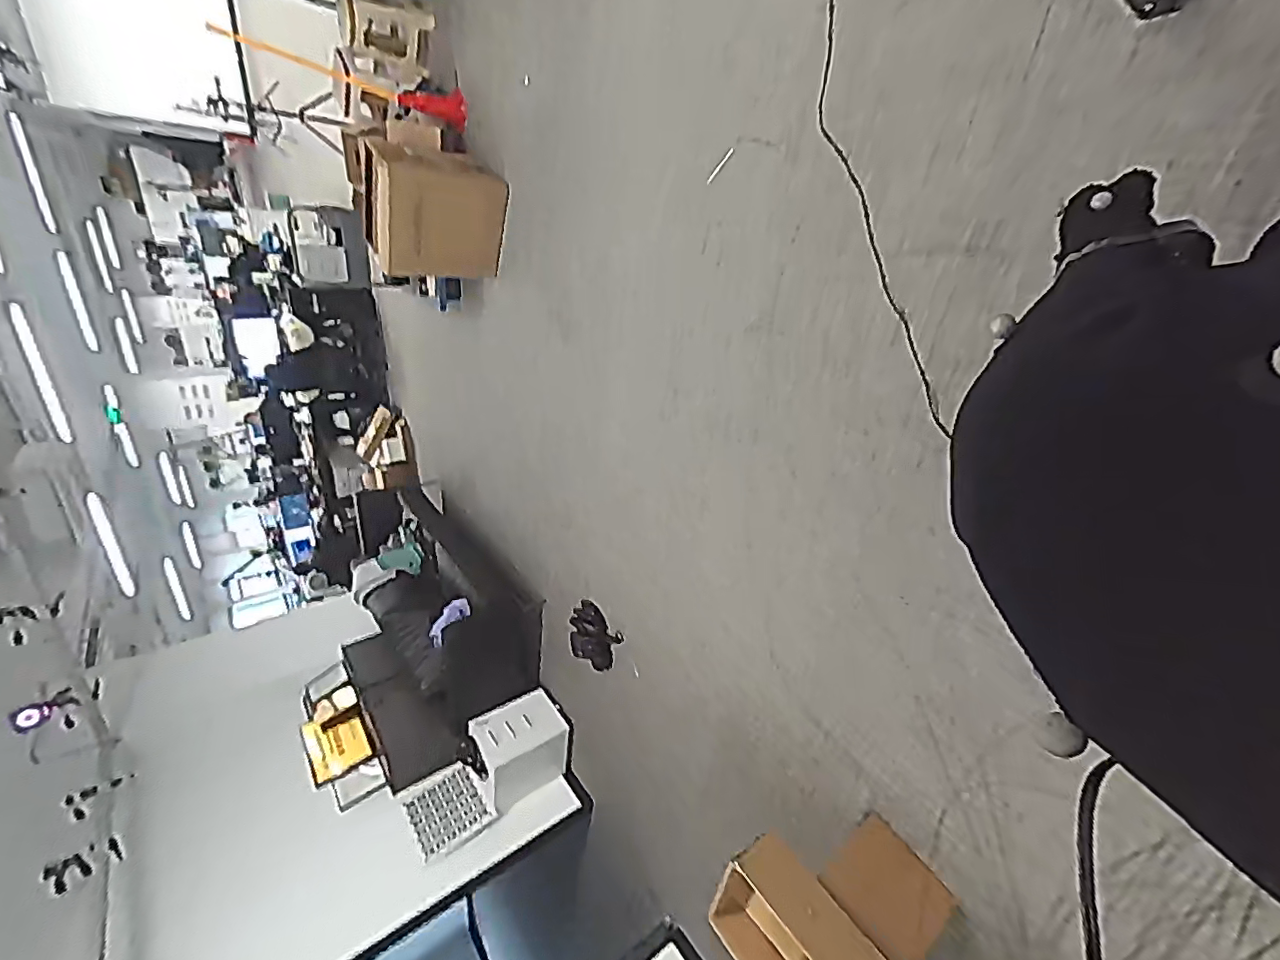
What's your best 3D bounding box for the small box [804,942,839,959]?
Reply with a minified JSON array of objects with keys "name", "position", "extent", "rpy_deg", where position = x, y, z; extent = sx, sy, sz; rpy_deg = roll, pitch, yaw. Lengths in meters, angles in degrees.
[{"name":"small box","position":[0.518,1.495,1.560],"extent":[0.168,0.176,0.179],"rpy_deg":[41,134,41]}]
